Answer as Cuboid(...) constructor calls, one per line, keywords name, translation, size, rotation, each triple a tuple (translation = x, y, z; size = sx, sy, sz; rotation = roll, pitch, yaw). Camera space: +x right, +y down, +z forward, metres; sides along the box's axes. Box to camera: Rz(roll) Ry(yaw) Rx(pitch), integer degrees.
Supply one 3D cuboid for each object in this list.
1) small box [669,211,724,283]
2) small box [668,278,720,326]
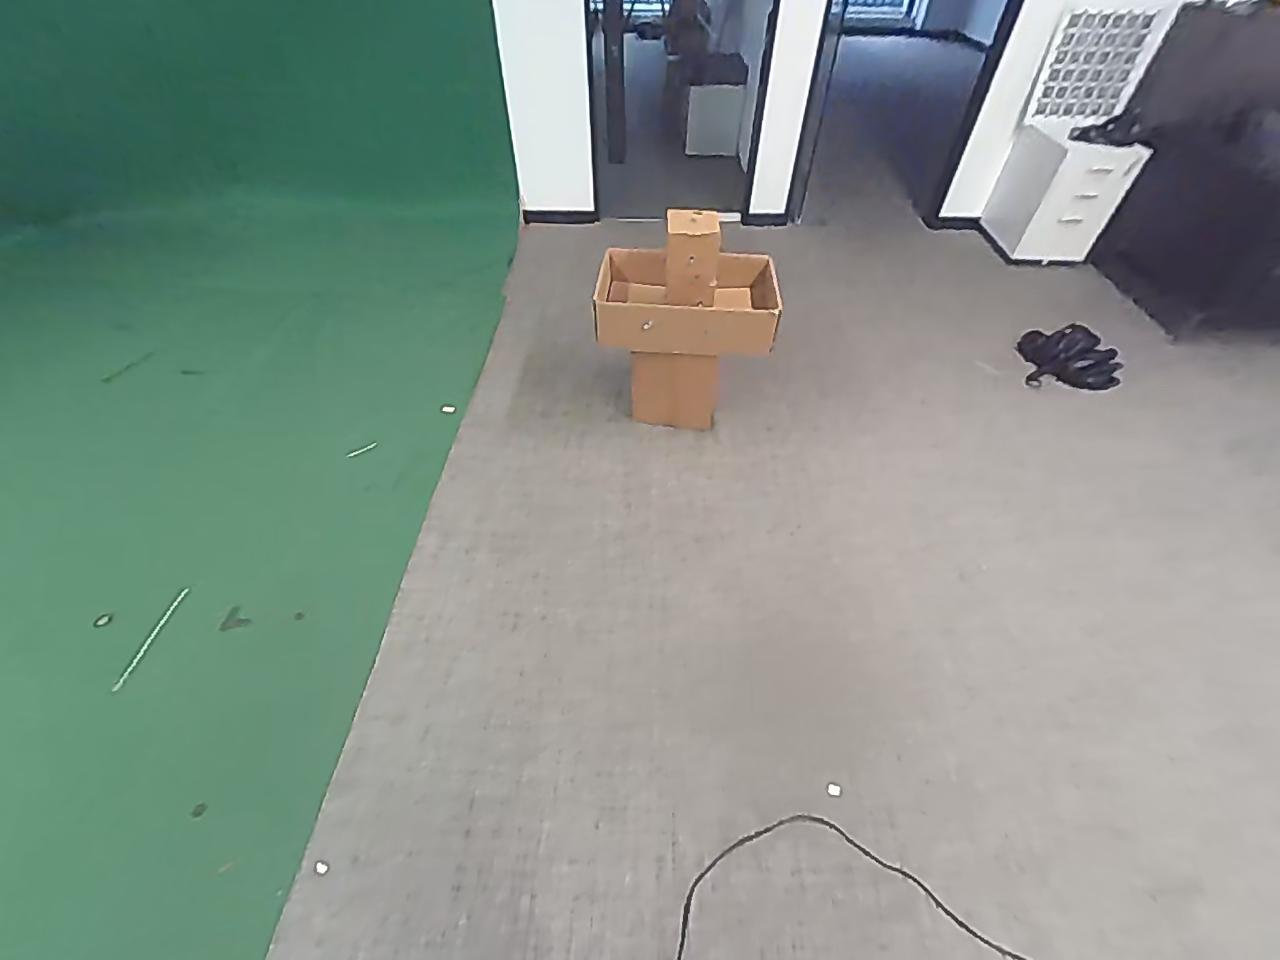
Cuboid(name="small box", translation=(0.185, -0.772, 1.797), size=(0.168, 0.176, 0.179), rotation=(3, 48, 0))
Cuboid(name="small box", translation=(0.189, -0.660, 1.915), size=(0.168, 0.176, 0.179), rotation=(2, 46, 0))
